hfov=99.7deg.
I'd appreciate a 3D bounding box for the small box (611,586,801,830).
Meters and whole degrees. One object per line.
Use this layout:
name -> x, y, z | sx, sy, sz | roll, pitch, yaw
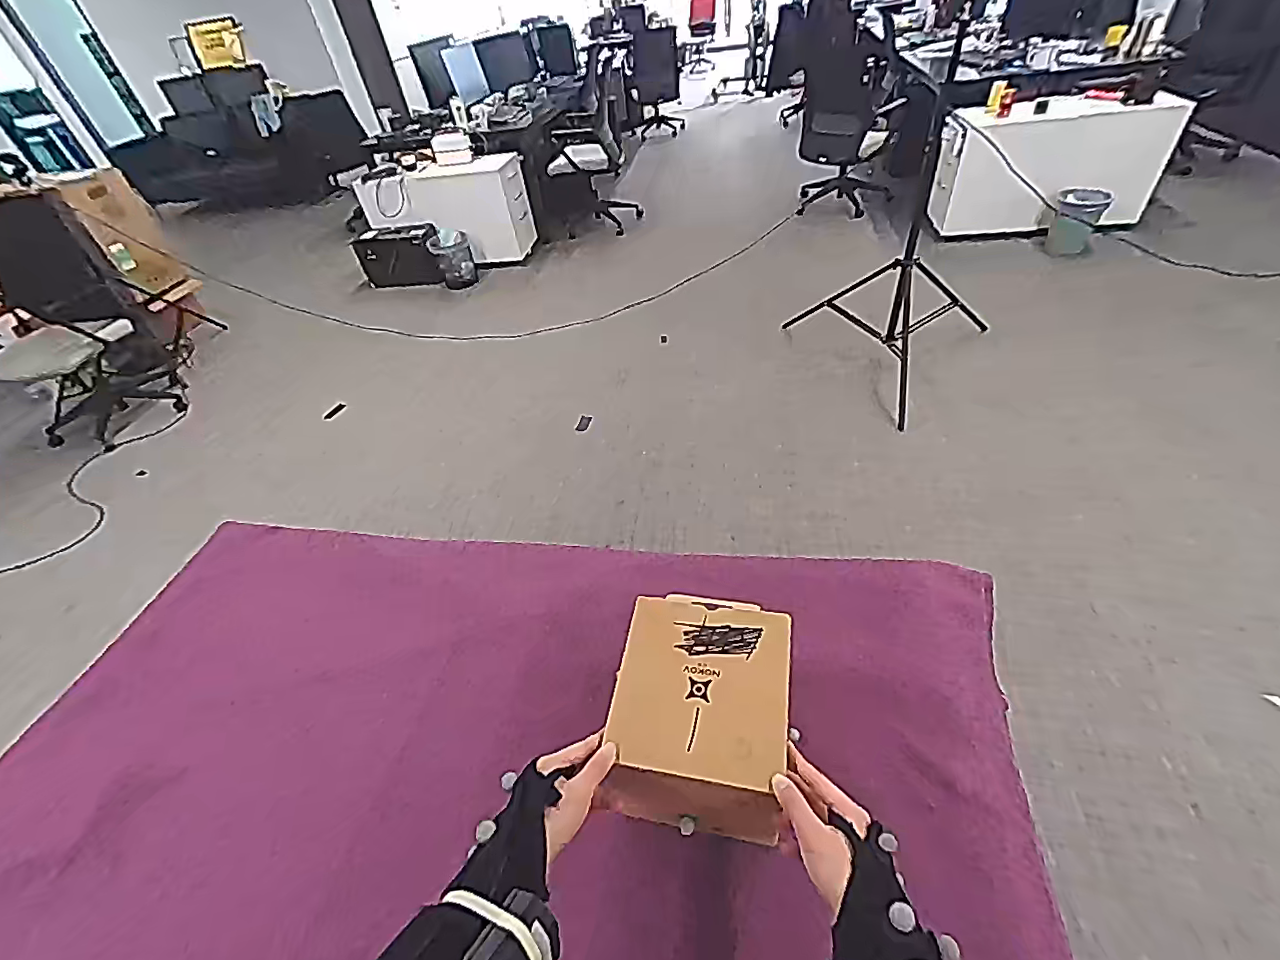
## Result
small box -> 0.079, 0.241, 0.579 | 0.168, 0.176, 0.179 | 4, 46, 14
